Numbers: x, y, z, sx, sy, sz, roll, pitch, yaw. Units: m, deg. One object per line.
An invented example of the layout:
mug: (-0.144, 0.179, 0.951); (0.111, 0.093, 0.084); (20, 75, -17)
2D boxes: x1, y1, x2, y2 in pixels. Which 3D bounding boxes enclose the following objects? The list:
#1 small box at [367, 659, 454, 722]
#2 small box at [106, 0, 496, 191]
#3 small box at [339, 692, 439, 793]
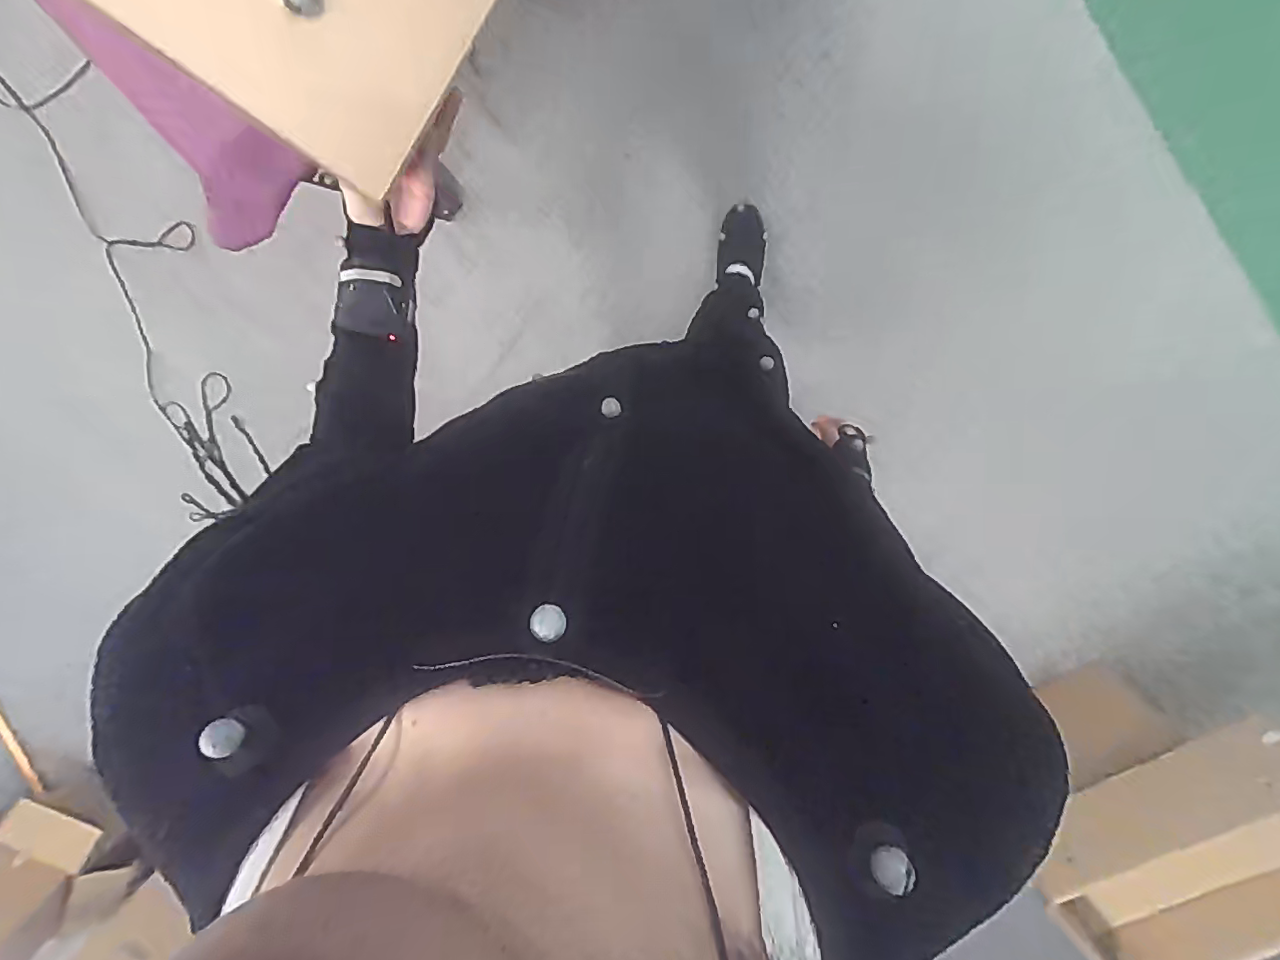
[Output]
small box: (-0.728, 0.715, 1.744); (0.168, 0.176, 0.179); (41, 107, -9)
small box: (-0.206, -0.326, 0.350); (0.179, 0.168, 0.176); (28, 108, -33)
small box: (-0.728, 0.763, 1.588); (0.179, 0.176, 0.168); (36, 107, -8)
